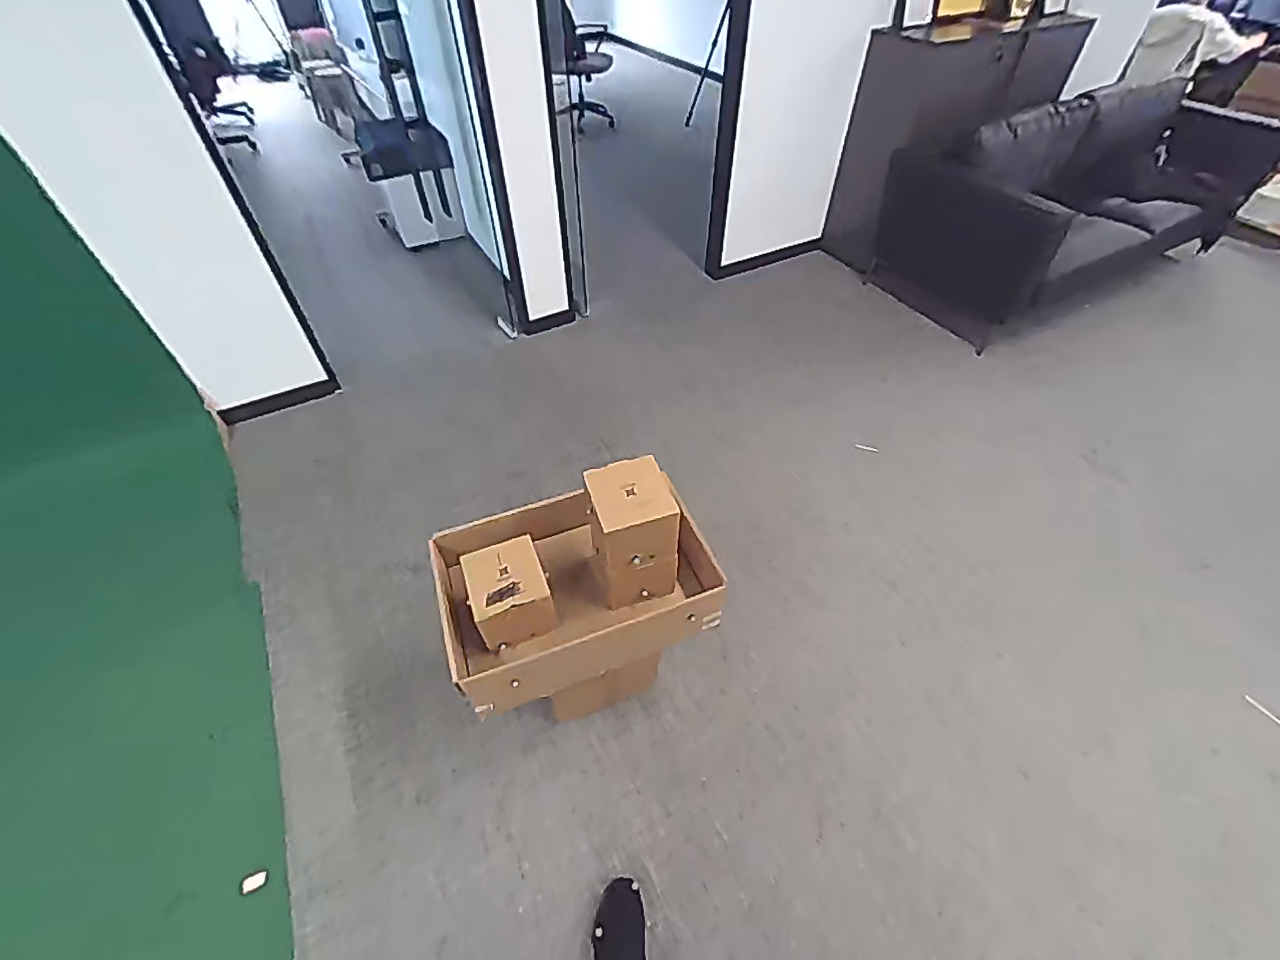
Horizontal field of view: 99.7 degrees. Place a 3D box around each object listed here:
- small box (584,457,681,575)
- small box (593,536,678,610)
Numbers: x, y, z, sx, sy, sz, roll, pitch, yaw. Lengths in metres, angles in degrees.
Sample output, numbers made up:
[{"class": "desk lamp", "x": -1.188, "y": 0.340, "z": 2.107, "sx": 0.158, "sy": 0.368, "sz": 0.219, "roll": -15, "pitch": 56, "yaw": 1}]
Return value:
[{"class": "small box", "x": -0.021, "y": 0.080, "z": 1.191, "sx": 0.168, "sy": 0.176, "sz": 0.179, "roll": -14, "pitch": 50, "yaw": -12}, {"class": "small box", "x": -0.018, "y": 0.186, "z": 1.314, "sx": 0.168, "sy": 0.176, "sz": 0.179, "roll": -13, "pitch": 50, "yaw": -12}]
